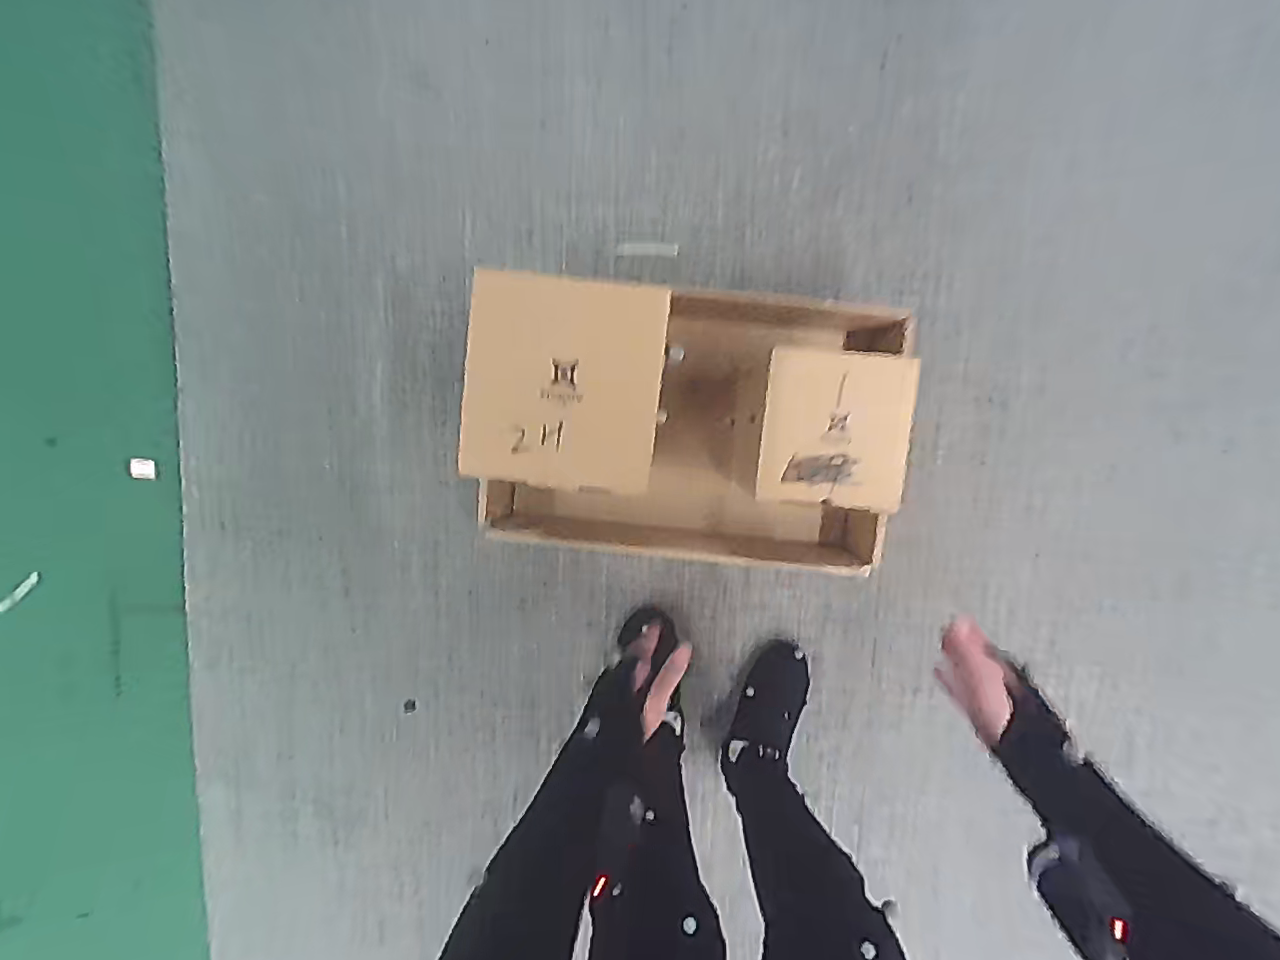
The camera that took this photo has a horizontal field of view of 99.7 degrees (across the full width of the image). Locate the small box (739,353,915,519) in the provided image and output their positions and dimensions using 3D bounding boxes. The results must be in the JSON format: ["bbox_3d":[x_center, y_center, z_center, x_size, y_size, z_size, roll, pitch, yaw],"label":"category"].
[{"bbox_3d":[0.223,-0.055,0.690,0.168,0.176,0.179,6,94,3],"label":"small box"}]

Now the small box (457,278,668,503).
[{"bbox_3d":[-0.066,-0.080,0.538,0.168,0.176,0.179,6,95,1],"label":"small box"}]

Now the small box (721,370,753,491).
[{"bbox_3d":[0.223,-0.070,0.855,0.168,0.176,0.179,6,96,3],"label":"small box"}]
